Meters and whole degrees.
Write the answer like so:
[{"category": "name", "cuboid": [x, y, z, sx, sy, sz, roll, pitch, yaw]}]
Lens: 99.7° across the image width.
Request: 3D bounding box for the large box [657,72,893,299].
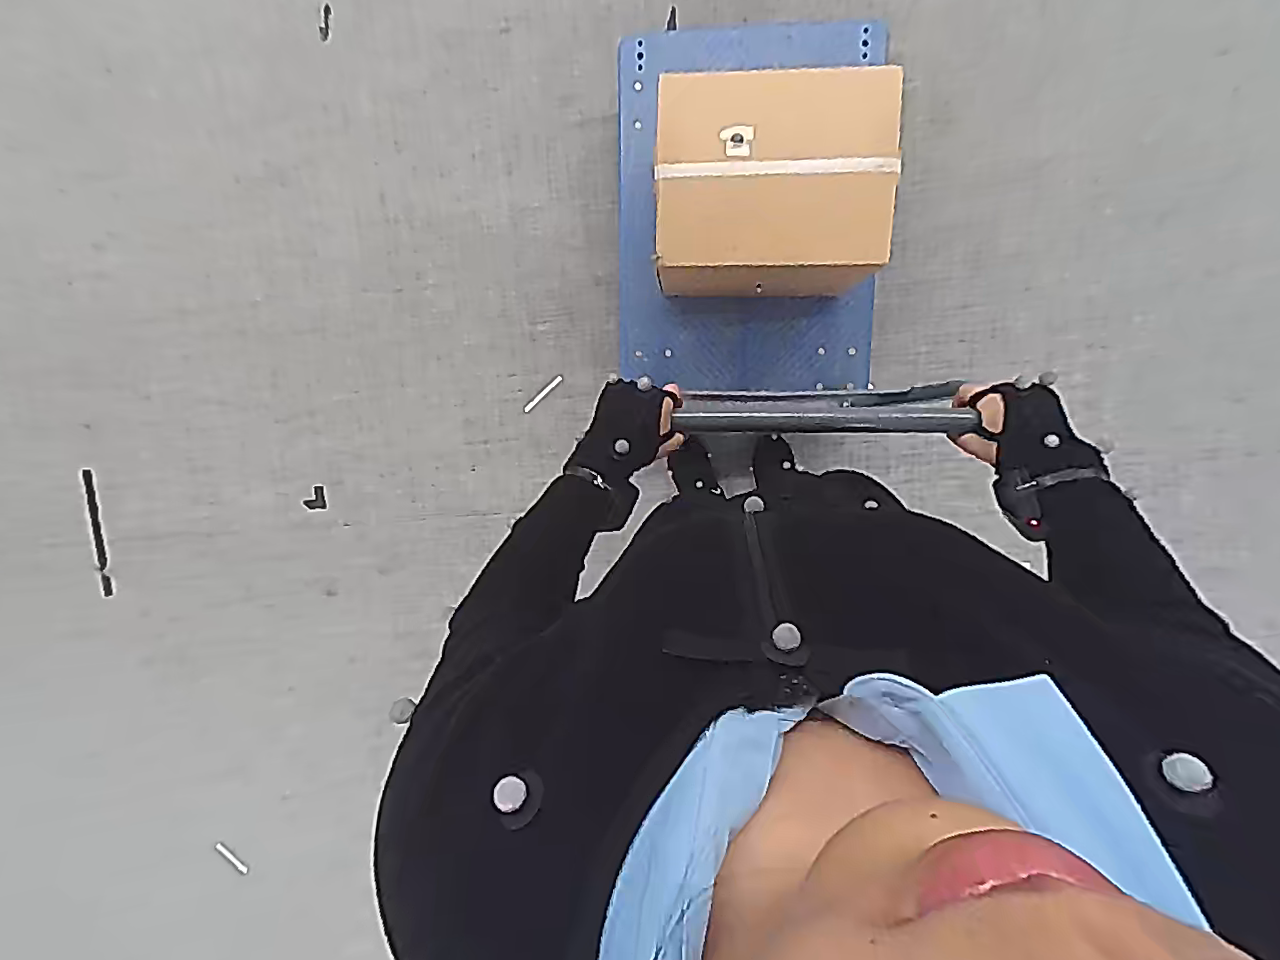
[{"category": "large box", "cuboid": [0.245, -0.552, 1.089, 0.408, 0.320, 0.320, 1, 98, 6]}]
